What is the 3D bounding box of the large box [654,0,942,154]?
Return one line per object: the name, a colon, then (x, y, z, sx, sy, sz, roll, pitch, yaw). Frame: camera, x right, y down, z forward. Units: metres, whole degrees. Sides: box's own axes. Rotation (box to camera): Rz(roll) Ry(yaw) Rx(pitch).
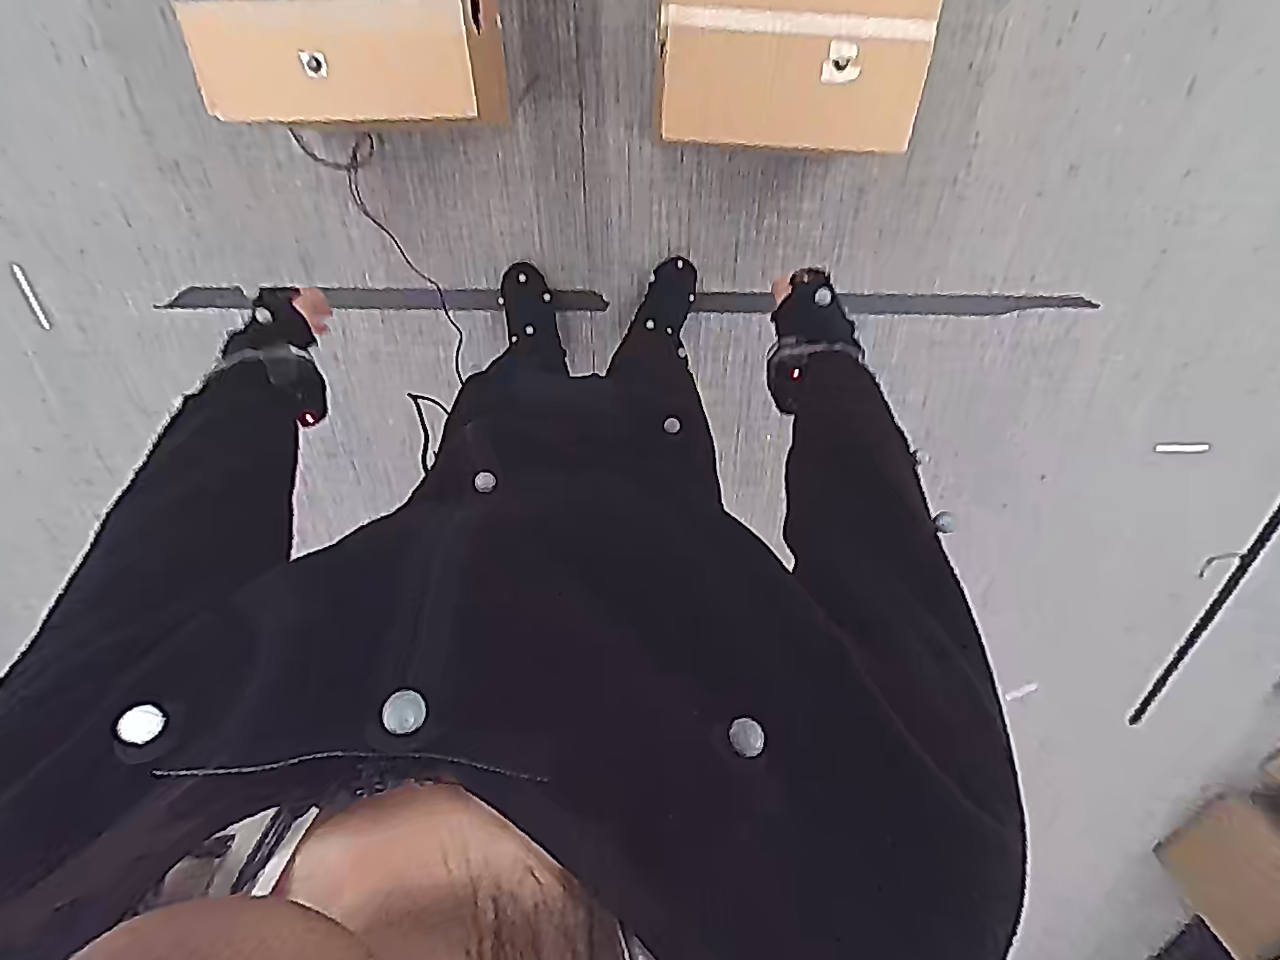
large box: (0.237, -0.754, 0.932, 0.408, 0.320, 0.320, 1, 120, -4)
